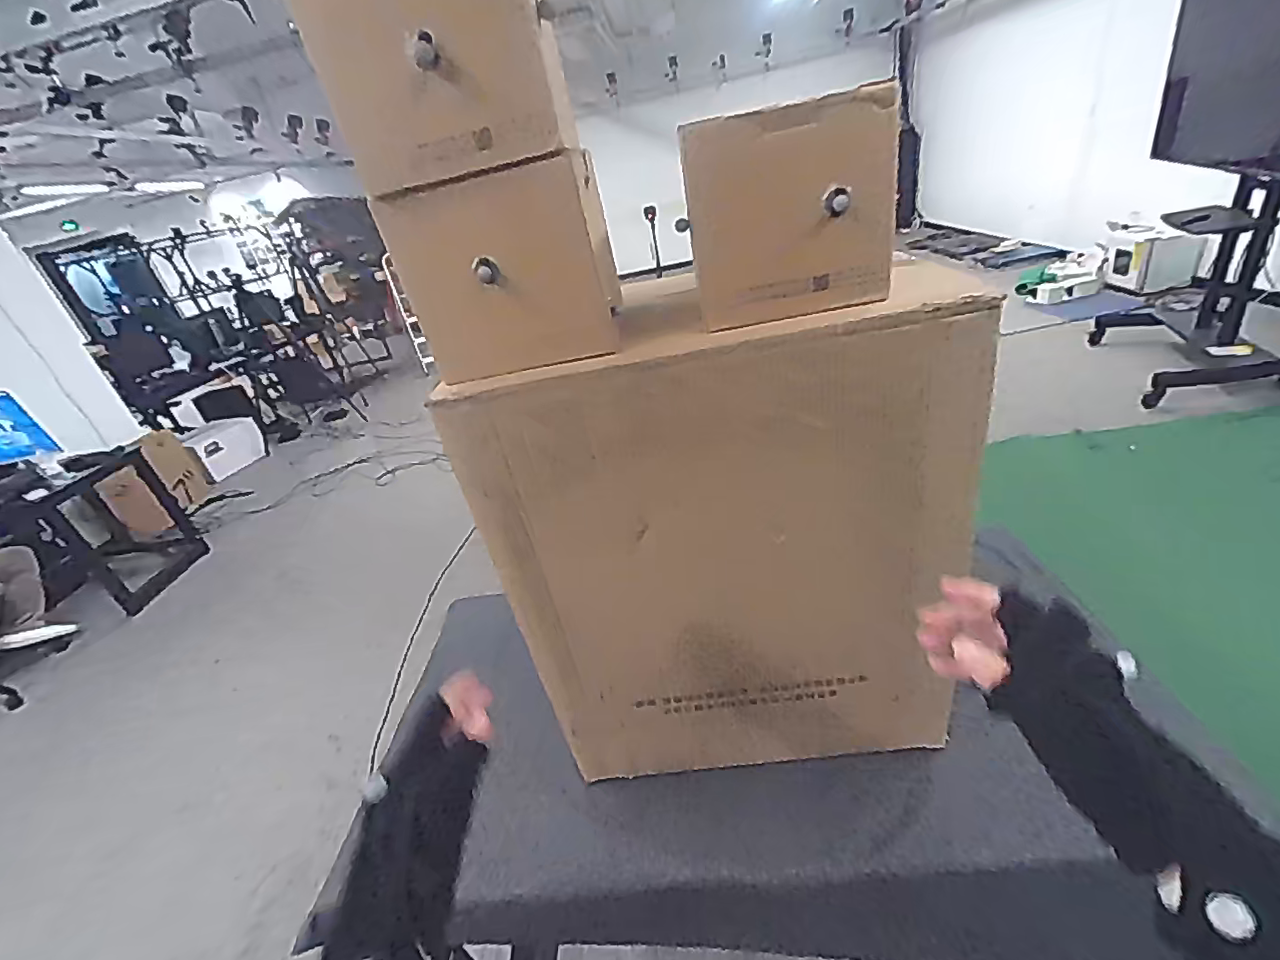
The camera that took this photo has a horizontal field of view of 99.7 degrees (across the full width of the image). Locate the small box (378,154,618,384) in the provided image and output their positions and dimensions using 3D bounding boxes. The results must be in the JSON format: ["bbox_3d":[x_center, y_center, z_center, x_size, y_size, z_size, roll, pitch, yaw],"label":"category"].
[{"bbox_3d":[-0.119,-0.213,0.543,0.179,0.176,0.168,-9,32,3],"label":"small box"}]

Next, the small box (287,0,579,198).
[{"bbox_3d":[-0.154,-0.349,0.460,0.168,0.176,0.179,-11,32,5],"label":"small box"}]

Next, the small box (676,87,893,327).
[{"bbox_3d":[0.129,-0.256,0.525,0.168,0.176,0.179,-7,31,6],"label":"small box"}]
